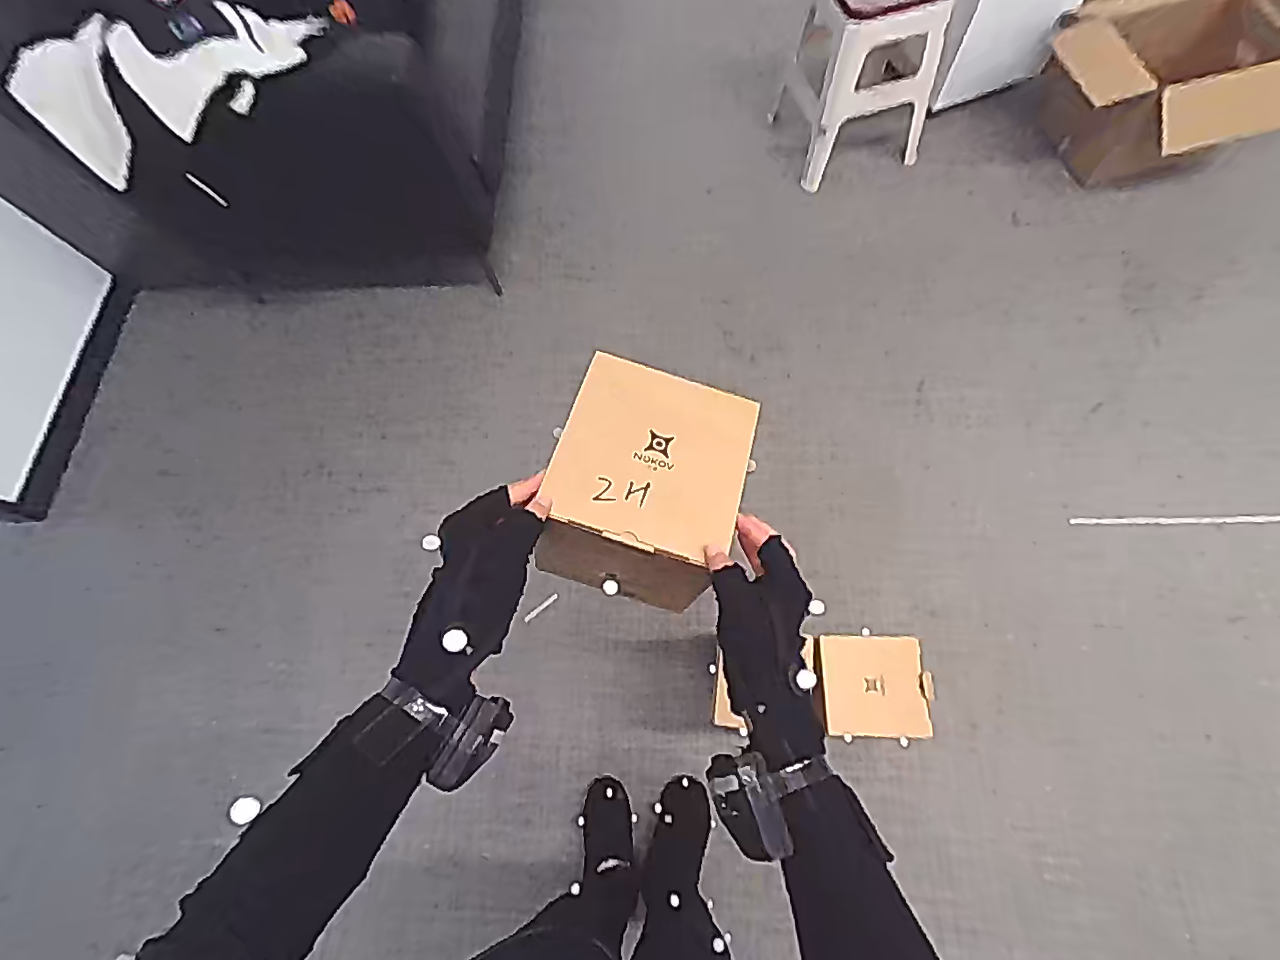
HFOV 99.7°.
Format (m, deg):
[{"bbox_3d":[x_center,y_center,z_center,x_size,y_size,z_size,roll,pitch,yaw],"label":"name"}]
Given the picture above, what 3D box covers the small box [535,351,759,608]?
[{"bbox_3d":[0.002,0.009,0.543,0.168,0.176,0.179,18,64,0],"label":"small box"}]
